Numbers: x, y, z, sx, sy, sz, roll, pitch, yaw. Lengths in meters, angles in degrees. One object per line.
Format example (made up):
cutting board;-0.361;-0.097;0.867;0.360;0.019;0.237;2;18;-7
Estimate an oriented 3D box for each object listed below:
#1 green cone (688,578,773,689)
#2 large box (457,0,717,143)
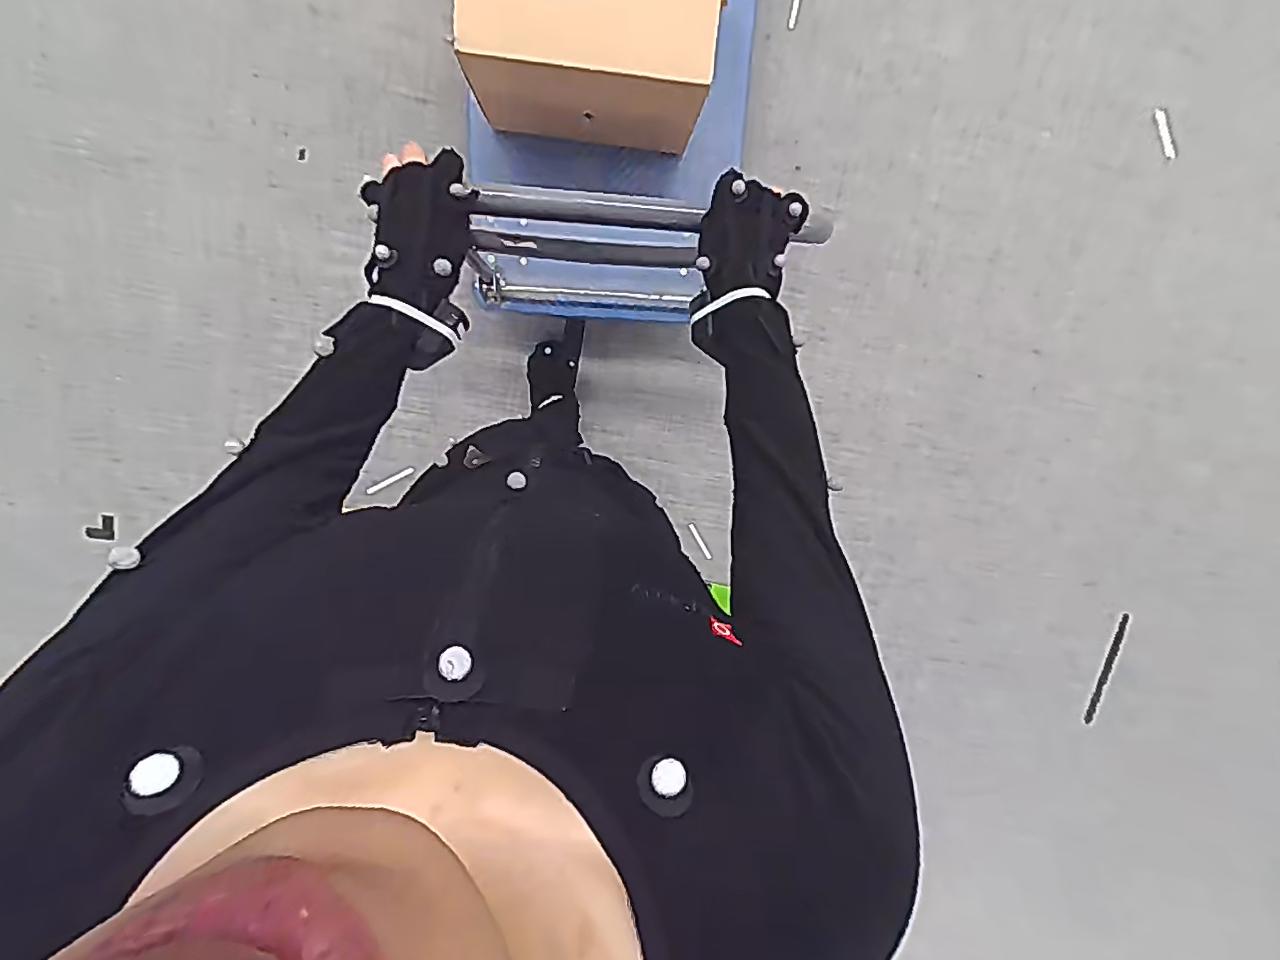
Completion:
green cone;0.271;0.433;1.432;0.202;0.368;0.200;13;102;-8
large box;-0.082;-0.836;0.962;0.408;0.320;0.320;4;103;-4
